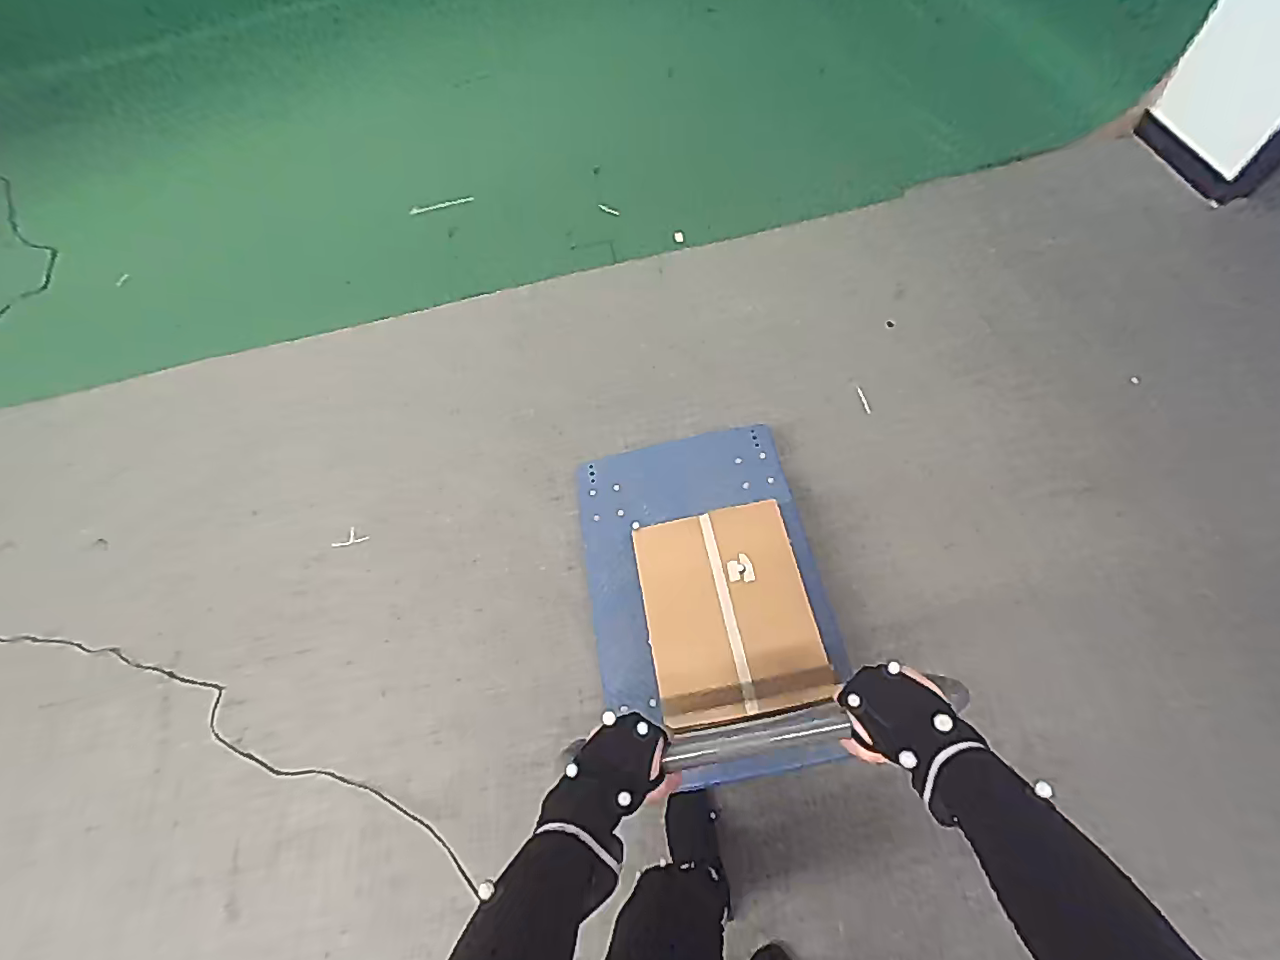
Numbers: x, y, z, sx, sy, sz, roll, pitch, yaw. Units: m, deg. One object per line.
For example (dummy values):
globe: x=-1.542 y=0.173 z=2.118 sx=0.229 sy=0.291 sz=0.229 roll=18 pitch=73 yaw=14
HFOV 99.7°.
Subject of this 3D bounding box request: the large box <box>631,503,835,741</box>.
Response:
large box: x=0.186 y=0.319 z=1.183 sx=0.320 sy=0.320 sz=0.408 roll=-12 pitch=61 yaw=2
